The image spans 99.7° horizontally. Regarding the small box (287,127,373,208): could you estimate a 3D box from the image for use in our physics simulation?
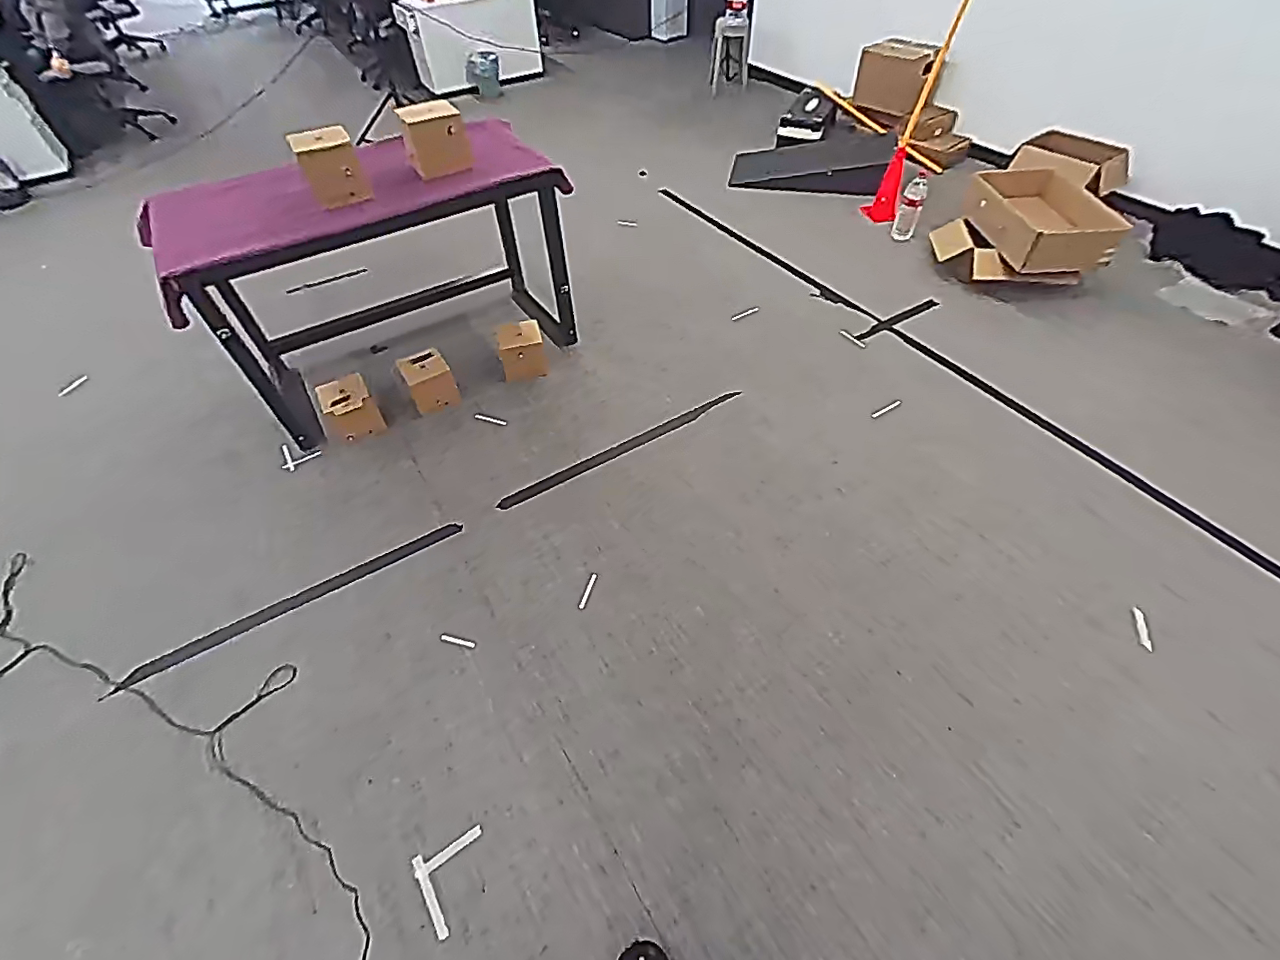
[{"bbox_3d":[-0.963,-0.971,1.689,0.168,0.176,0.179,-26,52,-19],"label":"small box"}]

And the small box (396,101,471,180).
[{"bbox_3d":[-0.685,-1.140,1.815,0.179,0.176,0.168,-26,54,-17],"label":"small box"}]

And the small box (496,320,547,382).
[{"bbox_3d":[-0.491,-0.538,2.261,0.179,0.176,0.168,-14,52,-8],"label":"small box"}]

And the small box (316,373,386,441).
[{"bbox_3d":[-1.096,-0.269,2.061,0.168,0.176,0.179,-26,54,-18],"label":"small box"}]
